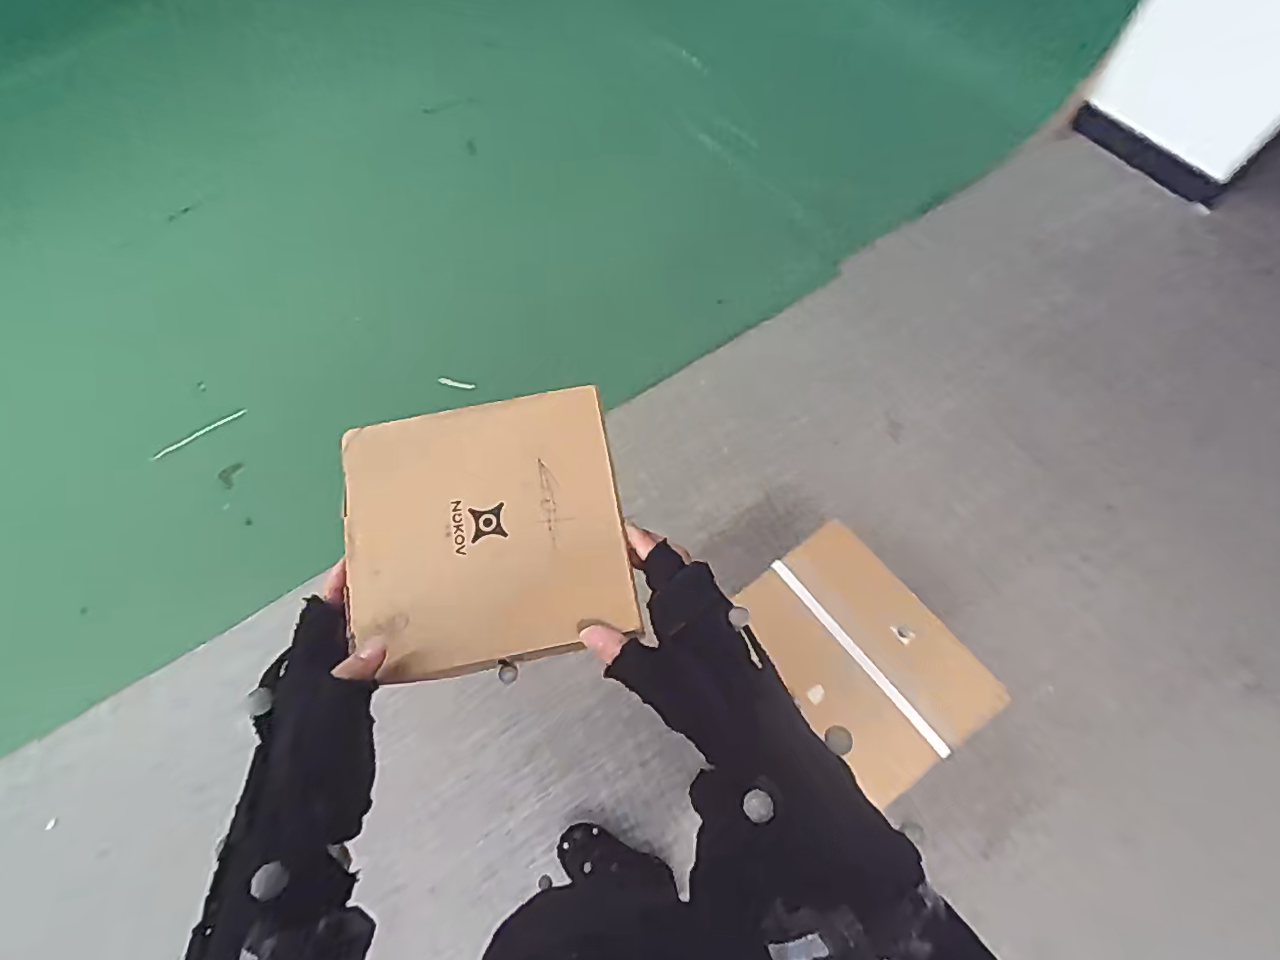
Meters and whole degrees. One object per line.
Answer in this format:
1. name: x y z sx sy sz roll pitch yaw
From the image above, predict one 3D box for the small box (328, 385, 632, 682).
1. small box: -0.106 0.050 0.416 0.179 0.176 0.168 -11 74 -4
